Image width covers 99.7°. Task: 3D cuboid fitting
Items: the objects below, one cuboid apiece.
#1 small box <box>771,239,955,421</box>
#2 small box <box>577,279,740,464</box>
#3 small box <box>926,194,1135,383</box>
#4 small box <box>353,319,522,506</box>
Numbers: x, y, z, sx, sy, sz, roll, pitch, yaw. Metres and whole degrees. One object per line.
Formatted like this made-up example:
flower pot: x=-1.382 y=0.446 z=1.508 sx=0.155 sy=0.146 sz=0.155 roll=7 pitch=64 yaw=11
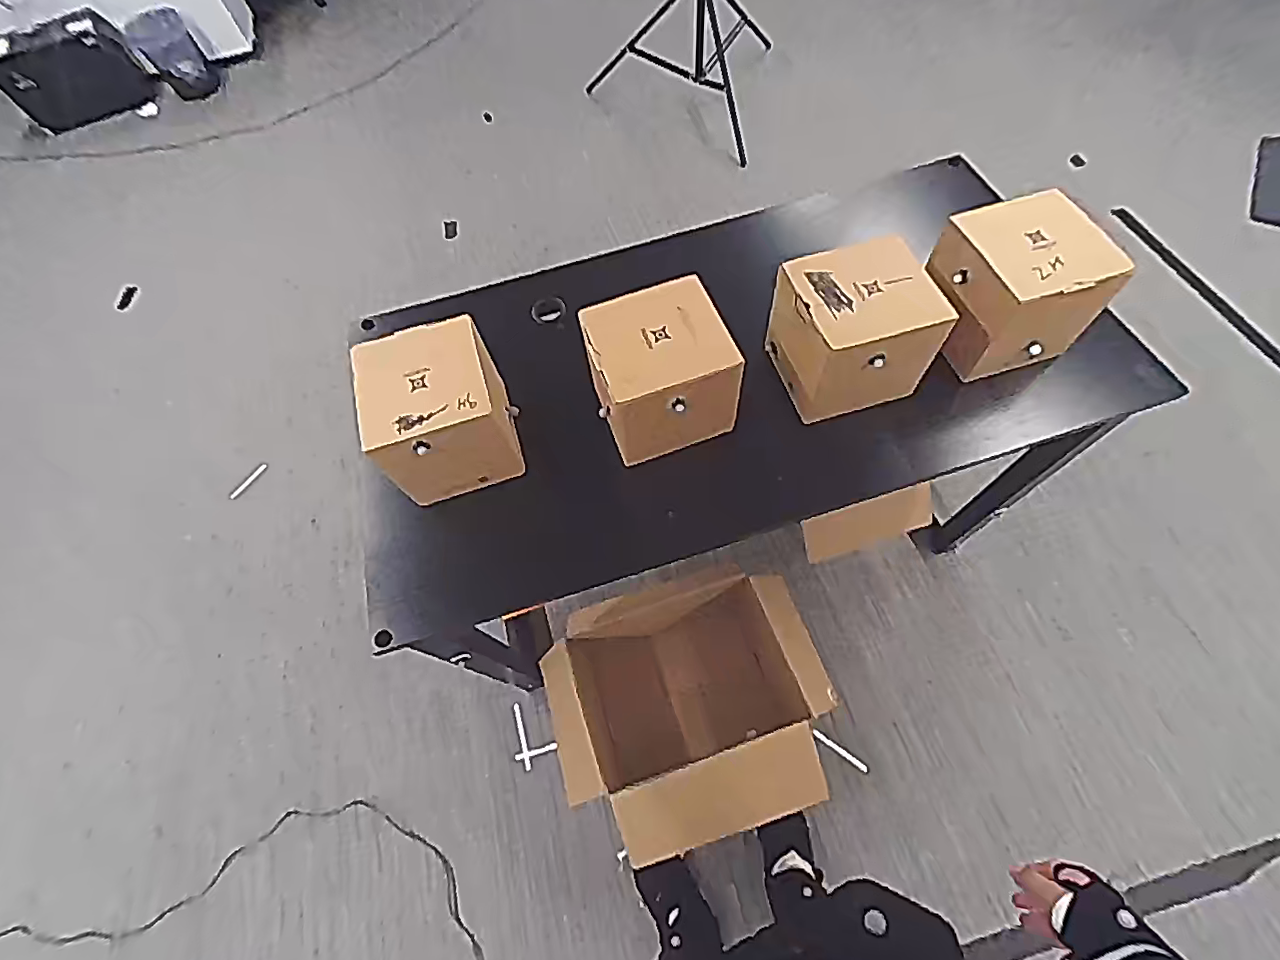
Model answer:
small box: x=0.299 y=-0.207 z=0.778 sx=0.179 sy=0.176 sz=0.168 roll=-15 pitch=63 yaw=-4
small box: x=0.026 y=-0.146 z=0.773 sx=0.179 sy=0.176 sz=0.168 roll=-19 pitch=64 yaw=-6
small box: x=0.535 y=-0.273 z=0.790 sx=0.168 sy=0.176 sz=0.179 roll=-16 pitch=63 yaw=-2
small box: x=-0.280 y=-0.090 z=0.767 sx=0.168 sy=0.176 sz=0.179 roll=-18 pitch=63 yaw=-5
